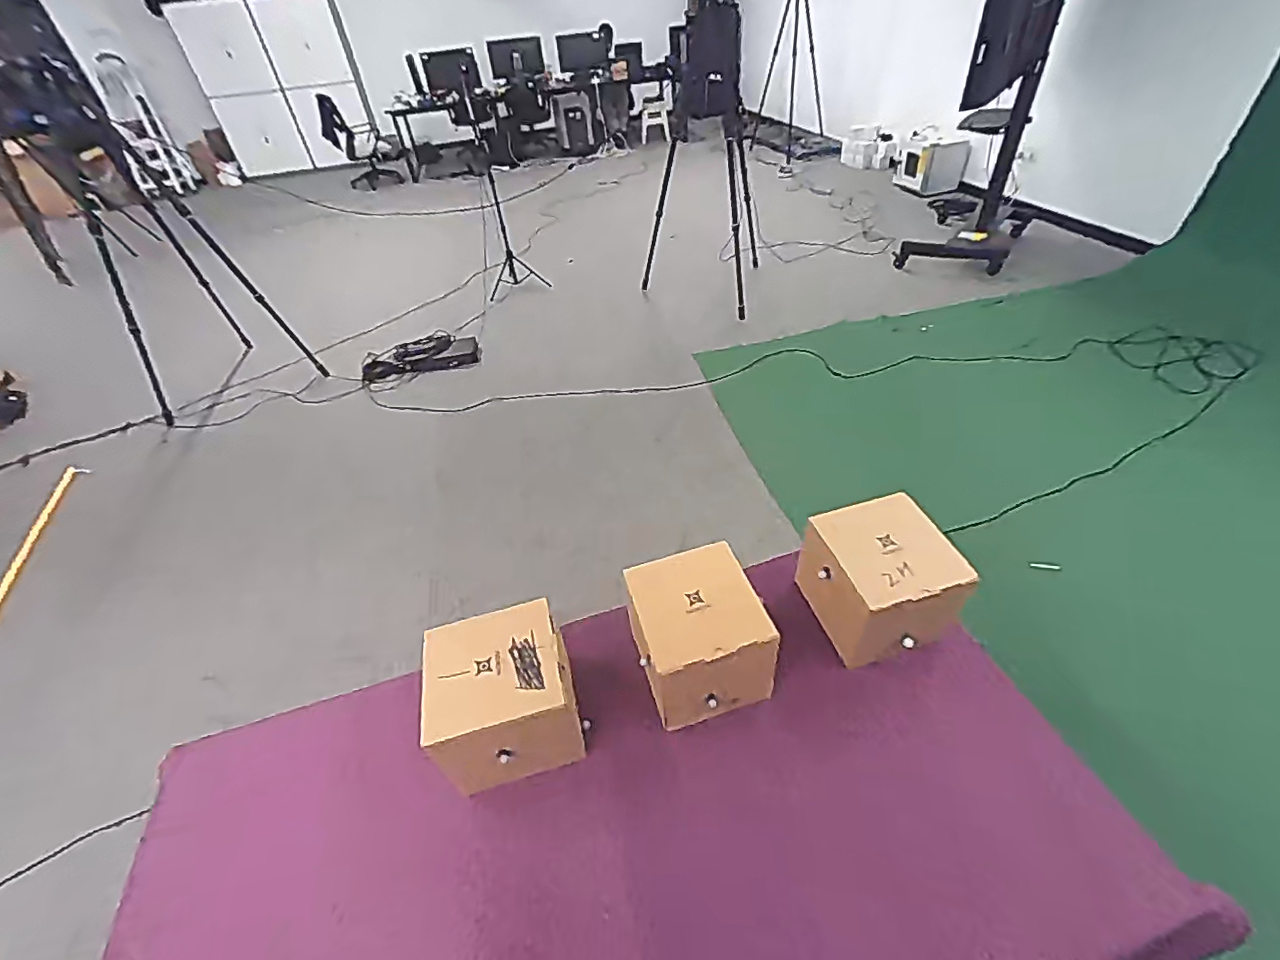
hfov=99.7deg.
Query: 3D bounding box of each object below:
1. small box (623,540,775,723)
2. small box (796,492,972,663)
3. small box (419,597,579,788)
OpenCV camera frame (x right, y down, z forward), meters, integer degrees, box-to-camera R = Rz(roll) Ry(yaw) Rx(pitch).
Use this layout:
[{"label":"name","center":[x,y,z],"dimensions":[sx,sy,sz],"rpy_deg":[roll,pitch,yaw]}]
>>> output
[{"label":"small box","center":[0.080,0.223,0.801],"dimensions":[0.168,0.176,0.179],"rpy_deg":[-15,44,-9]},{"label":"small box","center":[0.358,0.150,0.835],"dimensions":[0.168,0.176,0.179],"rpy_deg":[-14,46,-7]},{"label":"small box","center":[-0.188,0.295,0.754],"dimensions":[0.179,0.176,0.168],"rpy_deg":[-15,43,-7]}]
